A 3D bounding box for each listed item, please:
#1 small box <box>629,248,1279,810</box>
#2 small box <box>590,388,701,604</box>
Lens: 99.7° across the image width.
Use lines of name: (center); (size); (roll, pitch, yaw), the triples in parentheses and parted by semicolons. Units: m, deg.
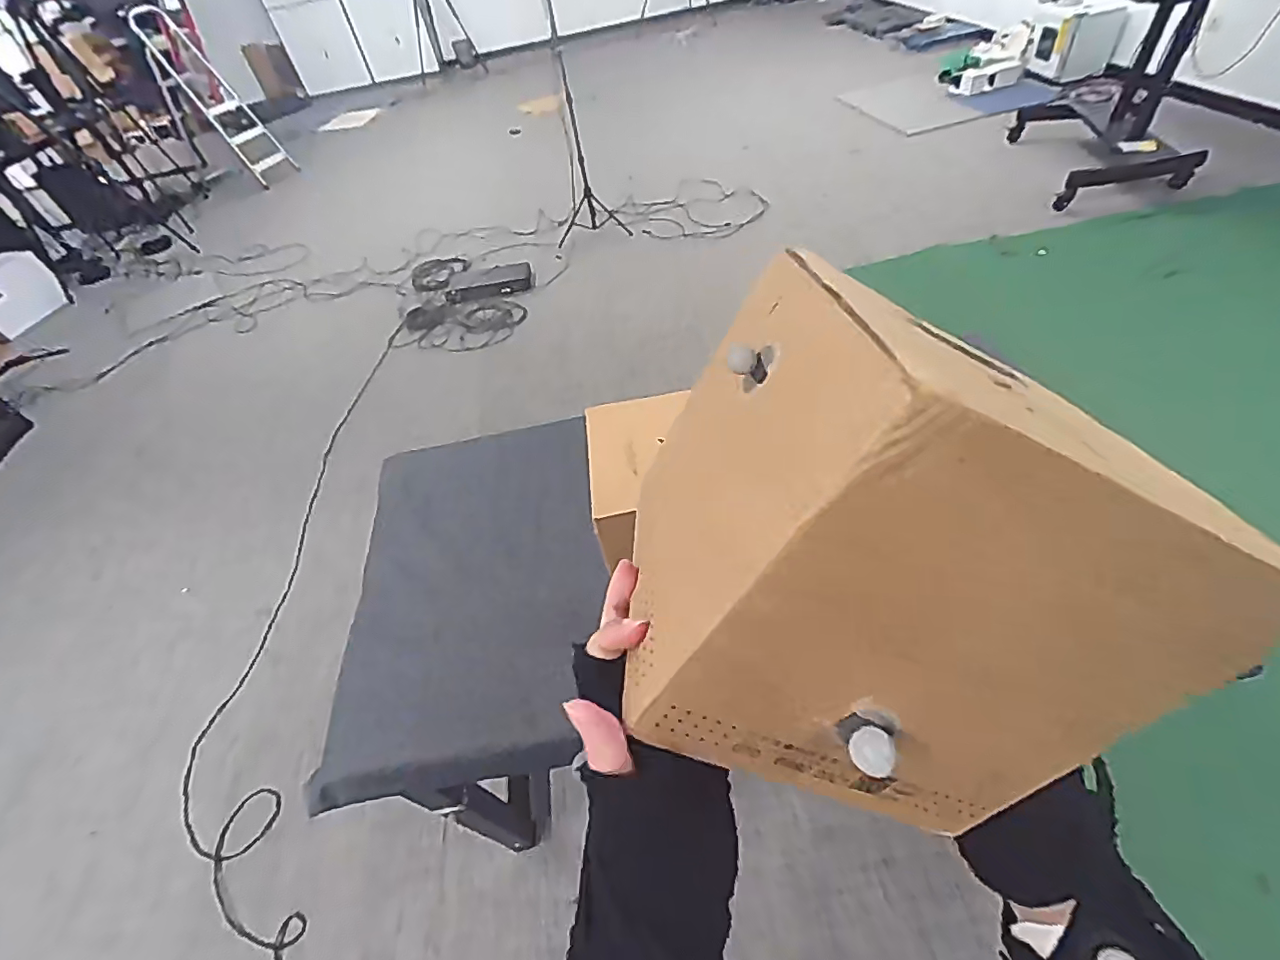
small box: (0.104, 0.020, 0.265); (0.168, 0.176, 0.179); (23, 32, -12)
small box: (0.048, 0.019, 0.609); (0.179, 0.176, 0.168); (-10, 45, 2)
